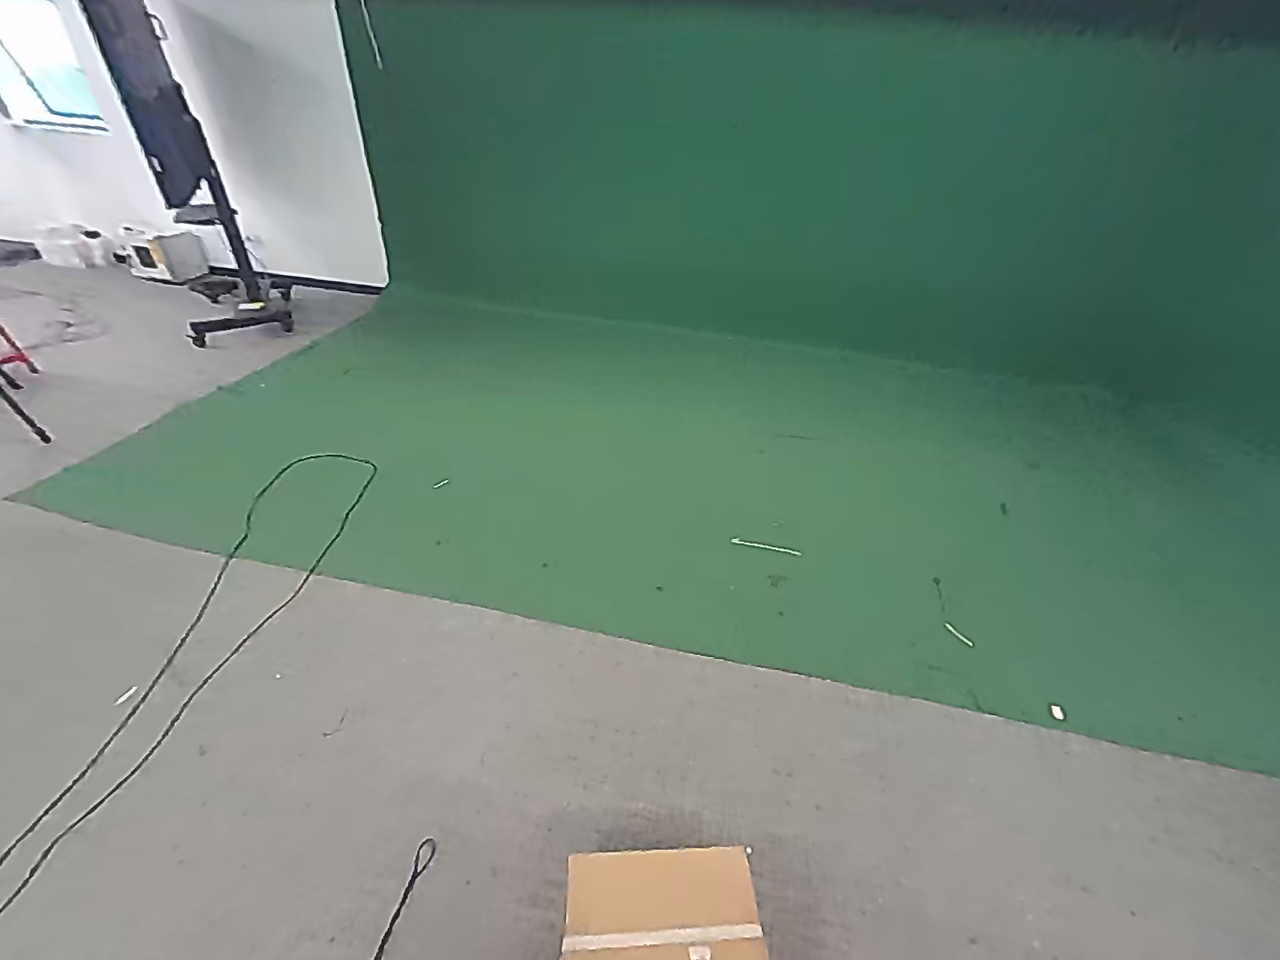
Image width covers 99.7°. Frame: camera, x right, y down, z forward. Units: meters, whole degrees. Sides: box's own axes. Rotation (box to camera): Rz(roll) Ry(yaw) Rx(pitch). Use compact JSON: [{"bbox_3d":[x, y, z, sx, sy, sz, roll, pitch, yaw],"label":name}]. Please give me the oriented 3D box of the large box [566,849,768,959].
[{"bbox_3d":[0.043,1.048,1.169,0.408,0.320,0.320,1,35,-5],"label":"large box"}]
